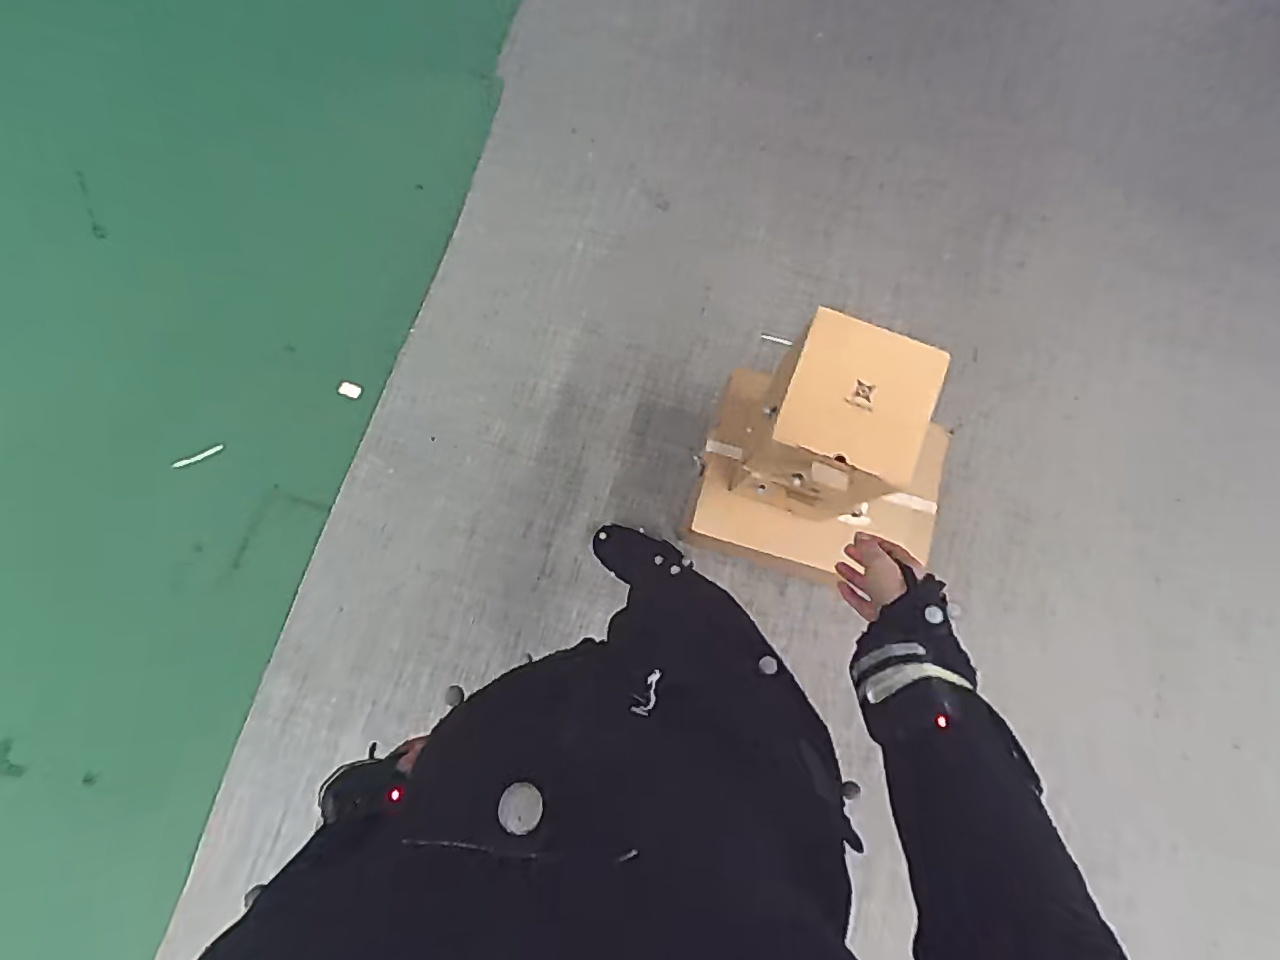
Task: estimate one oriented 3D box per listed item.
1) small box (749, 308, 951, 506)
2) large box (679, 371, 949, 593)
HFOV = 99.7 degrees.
[{"bbox_3d":[0.254,-0.081,0.695,0.168,0.176,0.179,22,81,3],"label":"small box"},{"bbox_3d":[0.318,0.021,1.091,0.408,0.320,0.320,16,82,1],"label":"large box"}]
